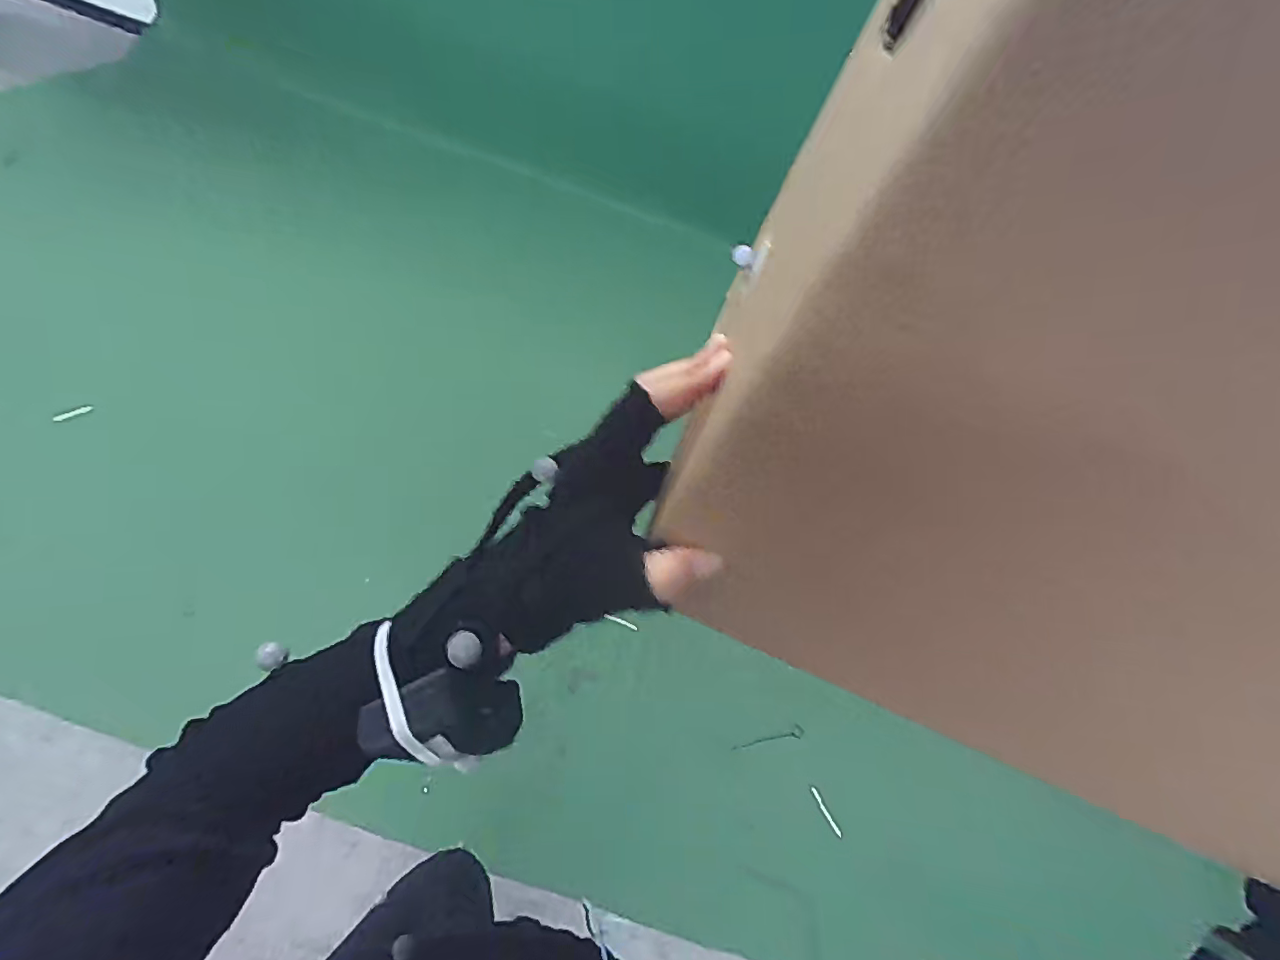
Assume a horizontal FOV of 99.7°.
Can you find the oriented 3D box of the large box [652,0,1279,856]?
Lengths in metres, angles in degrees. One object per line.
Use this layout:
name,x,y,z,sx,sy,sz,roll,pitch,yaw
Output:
large box,0.266,-0.062,0.277,0.408,0.320,0.320,26,47,-5
